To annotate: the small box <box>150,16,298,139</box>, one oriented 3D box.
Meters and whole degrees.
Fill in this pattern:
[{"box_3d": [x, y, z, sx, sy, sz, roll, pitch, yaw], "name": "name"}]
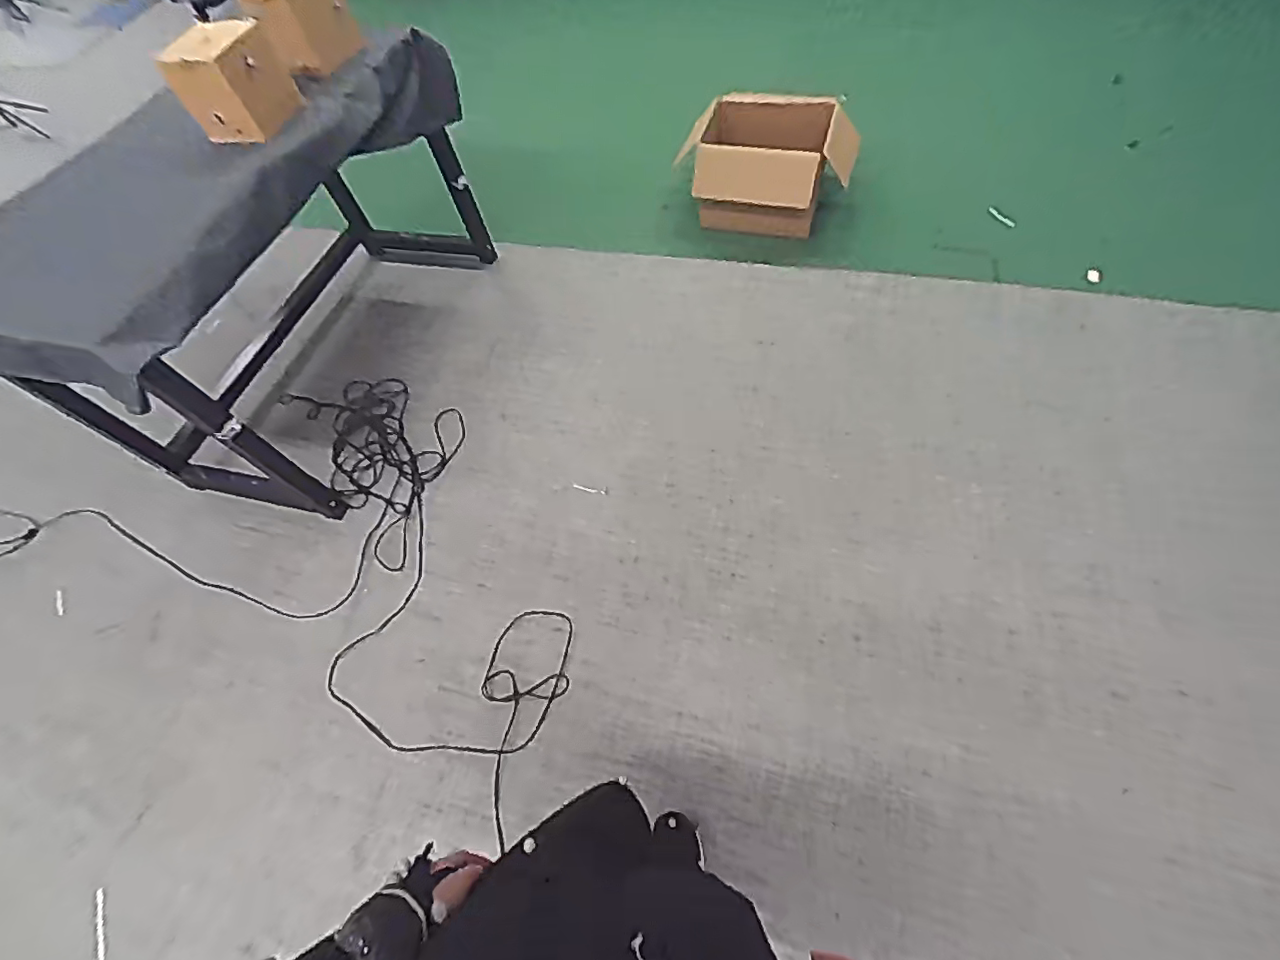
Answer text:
[{"box_3d": [-0.921, -0.907, 1.222, 0.168, 0.176, 0.179, 8, 62, 12], "name": "small box"}]
